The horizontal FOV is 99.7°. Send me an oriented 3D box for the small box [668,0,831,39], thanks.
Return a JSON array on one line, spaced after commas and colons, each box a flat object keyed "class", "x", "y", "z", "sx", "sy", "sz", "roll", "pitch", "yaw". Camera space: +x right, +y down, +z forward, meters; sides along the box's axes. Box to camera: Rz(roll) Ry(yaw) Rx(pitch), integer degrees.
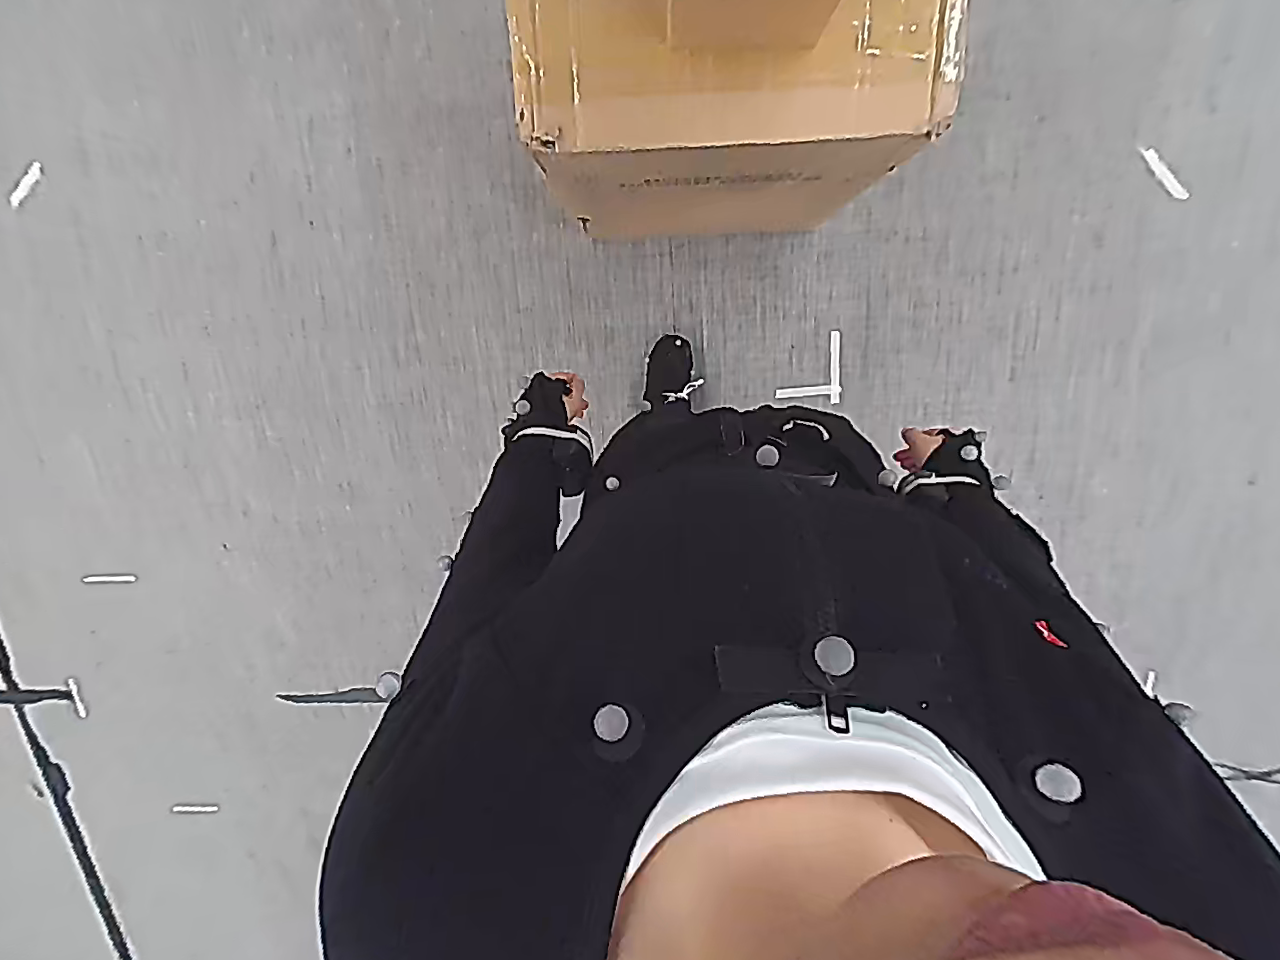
[{"class": "small box", "x": 0.116, "y": -0.567, "z": 0.526, "sx": 0.179, "sy": 0.176, "sz": 0.168, "roll": 0, "pitch": 105, "yaw": 2}]
